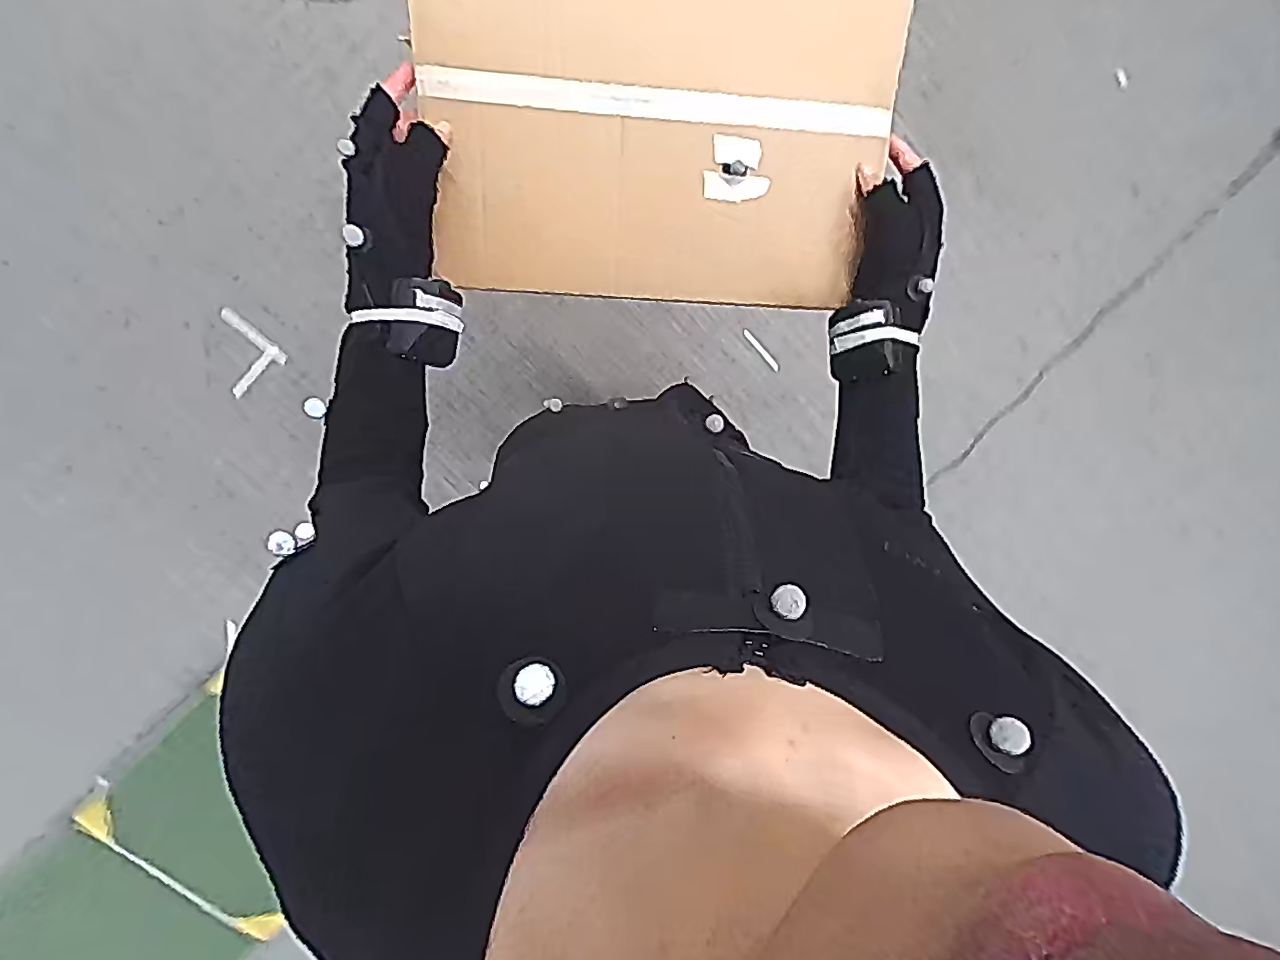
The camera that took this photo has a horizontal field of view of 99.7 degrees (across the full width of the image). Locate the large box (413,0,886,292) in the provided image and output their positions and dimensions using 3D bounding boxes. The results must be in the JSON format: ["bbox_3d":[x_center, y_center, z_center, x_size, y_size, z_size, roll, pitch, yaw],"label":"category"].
[{"bbox_3d":[-0.004,-0.381,0.612,0.408,0.320,0.320,-1,111,-7],"label":"large box"}]
